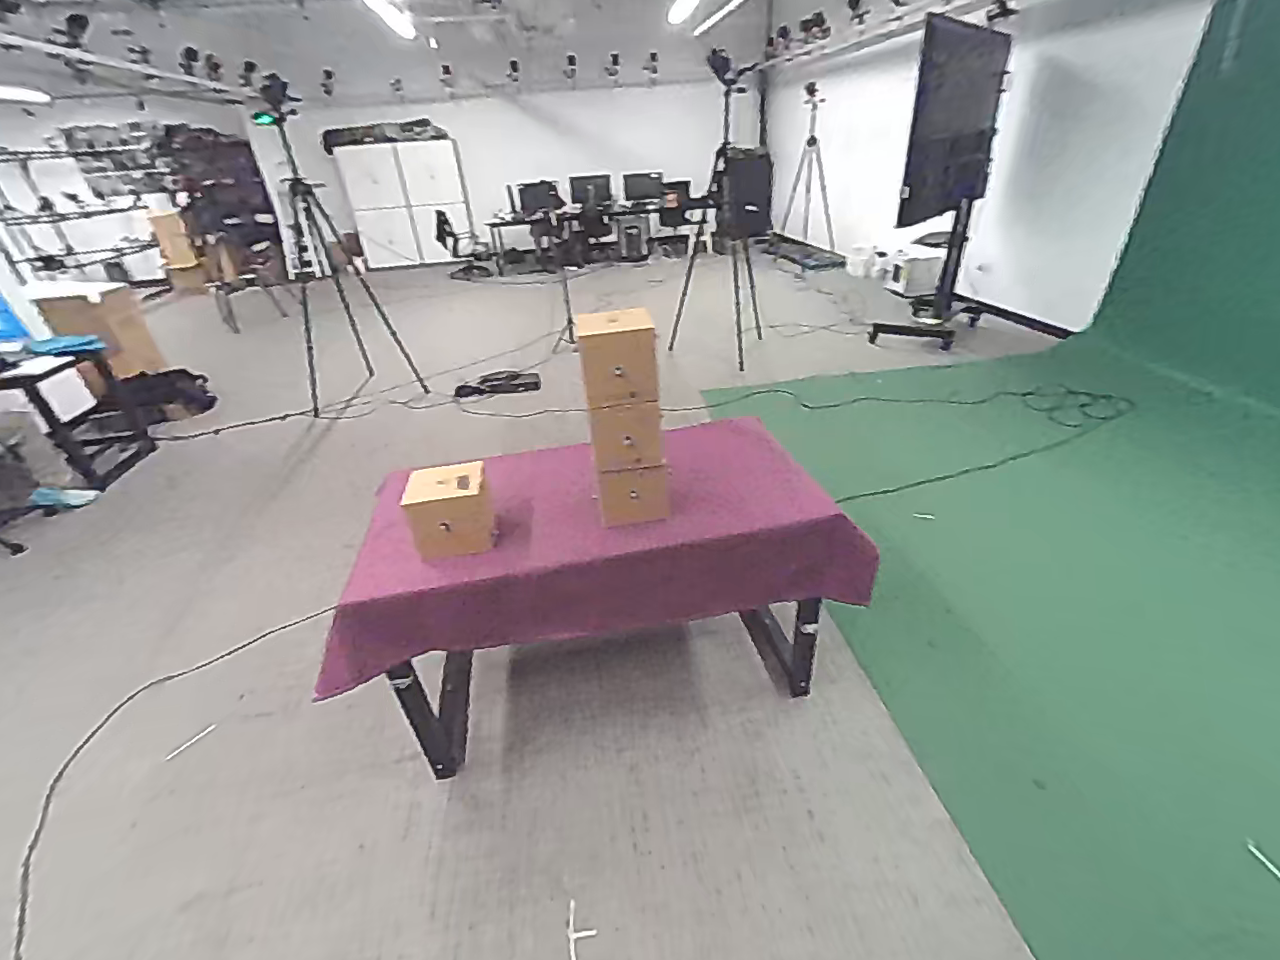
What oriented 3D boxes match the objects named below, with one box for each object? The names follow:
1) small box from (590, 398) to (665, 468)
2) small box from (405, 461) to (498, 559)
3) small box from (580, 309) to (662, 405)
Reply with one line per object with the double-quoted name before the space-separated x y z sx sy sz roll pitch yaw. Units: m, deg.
"small box" -0.031 -0.137 1.321 0.168 0.176 0.179 -6 32 -2
"small box" -0.457 0.075 1.344 0.179 0.176 0.168 -9 31 -6
"small box" -0.045 -0.277 1.234 0.168 0.176 0.179 -7 31 -3
